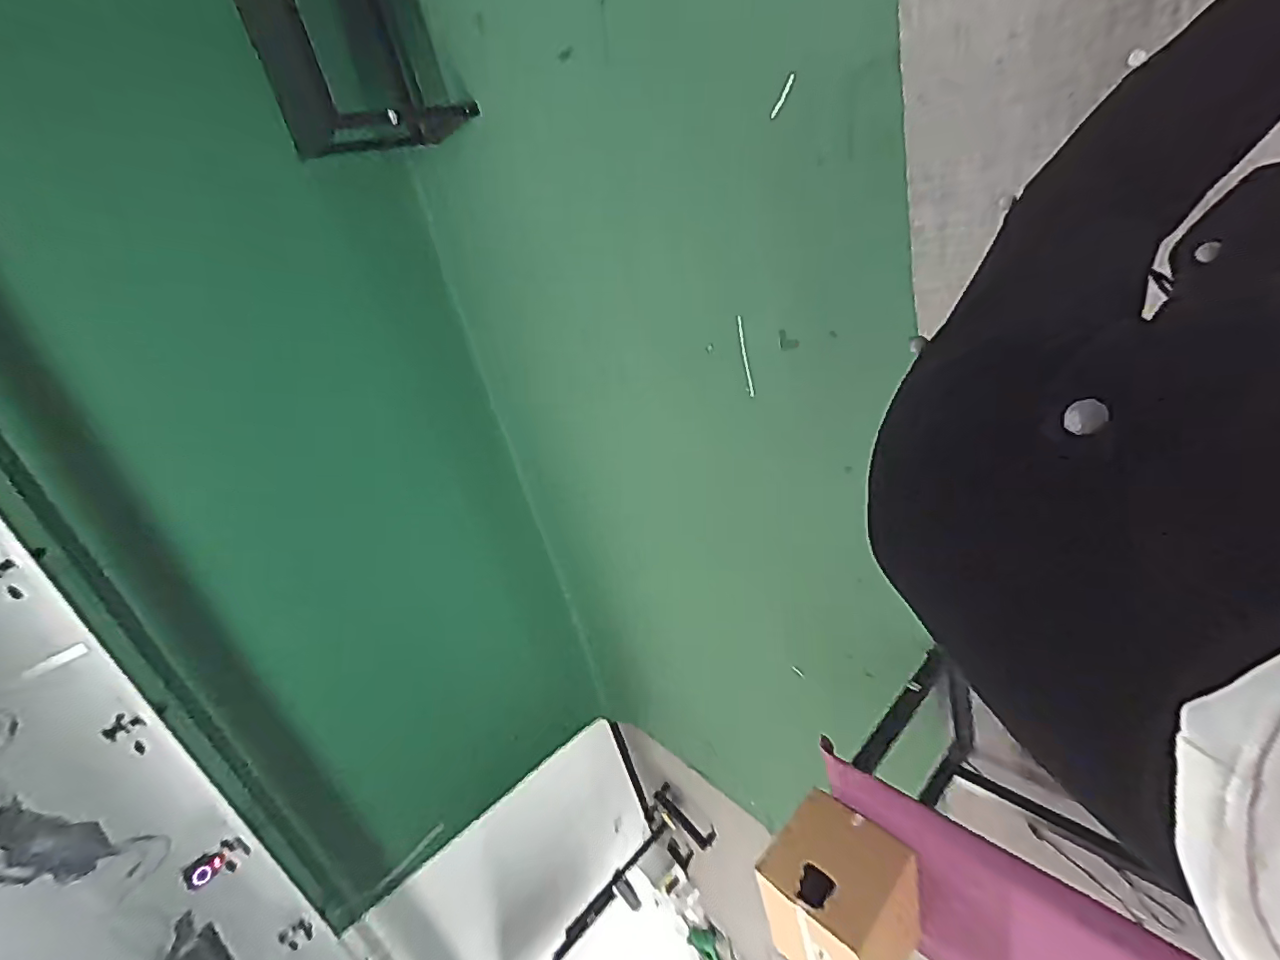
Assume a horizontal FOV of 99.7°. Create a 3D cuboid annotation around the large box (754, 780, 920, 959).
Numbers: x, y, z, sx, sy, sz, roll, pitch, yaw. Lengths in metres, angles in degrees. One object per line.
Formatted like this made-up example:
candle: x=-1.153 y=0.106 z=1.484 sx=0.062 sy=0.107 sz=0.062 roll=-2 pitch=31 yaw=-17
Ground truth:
large box: x=0.574 y=1.185 z=1.555 sx=0.320 sy=0.320 sz=0.408 roll=12 pitch=125 yaw=48
